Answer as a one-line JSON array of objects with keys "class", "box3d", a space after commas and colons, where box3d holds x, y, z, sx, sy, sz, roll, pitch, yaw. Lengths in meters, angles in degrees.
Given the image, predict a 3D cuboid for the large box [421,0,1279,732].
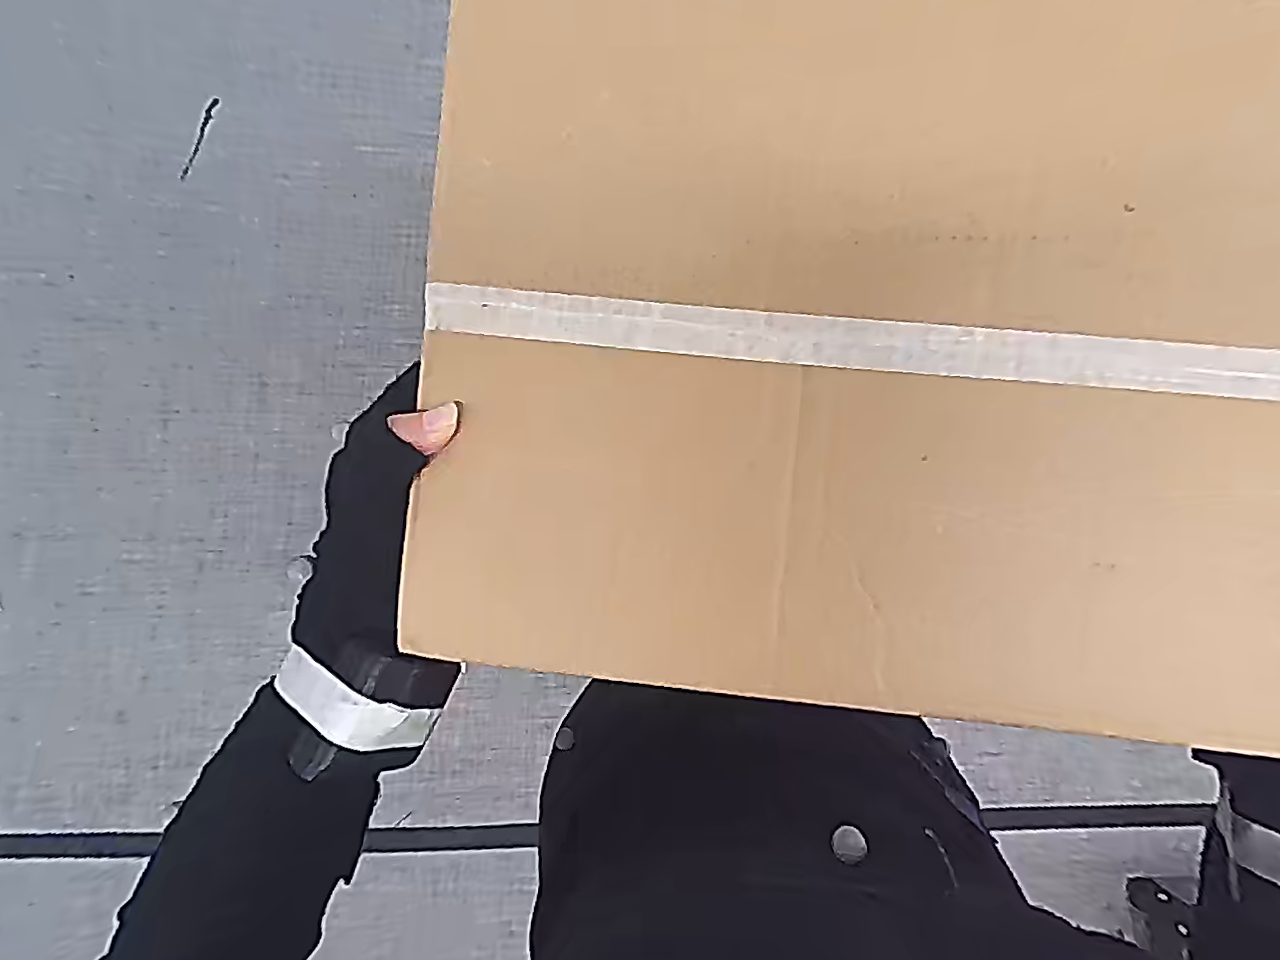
[{"class": "large box", "box3d": [0.113, -0.058, 0.391, 0.408, 0.320, 0.320, 5, 91, 3]}]
